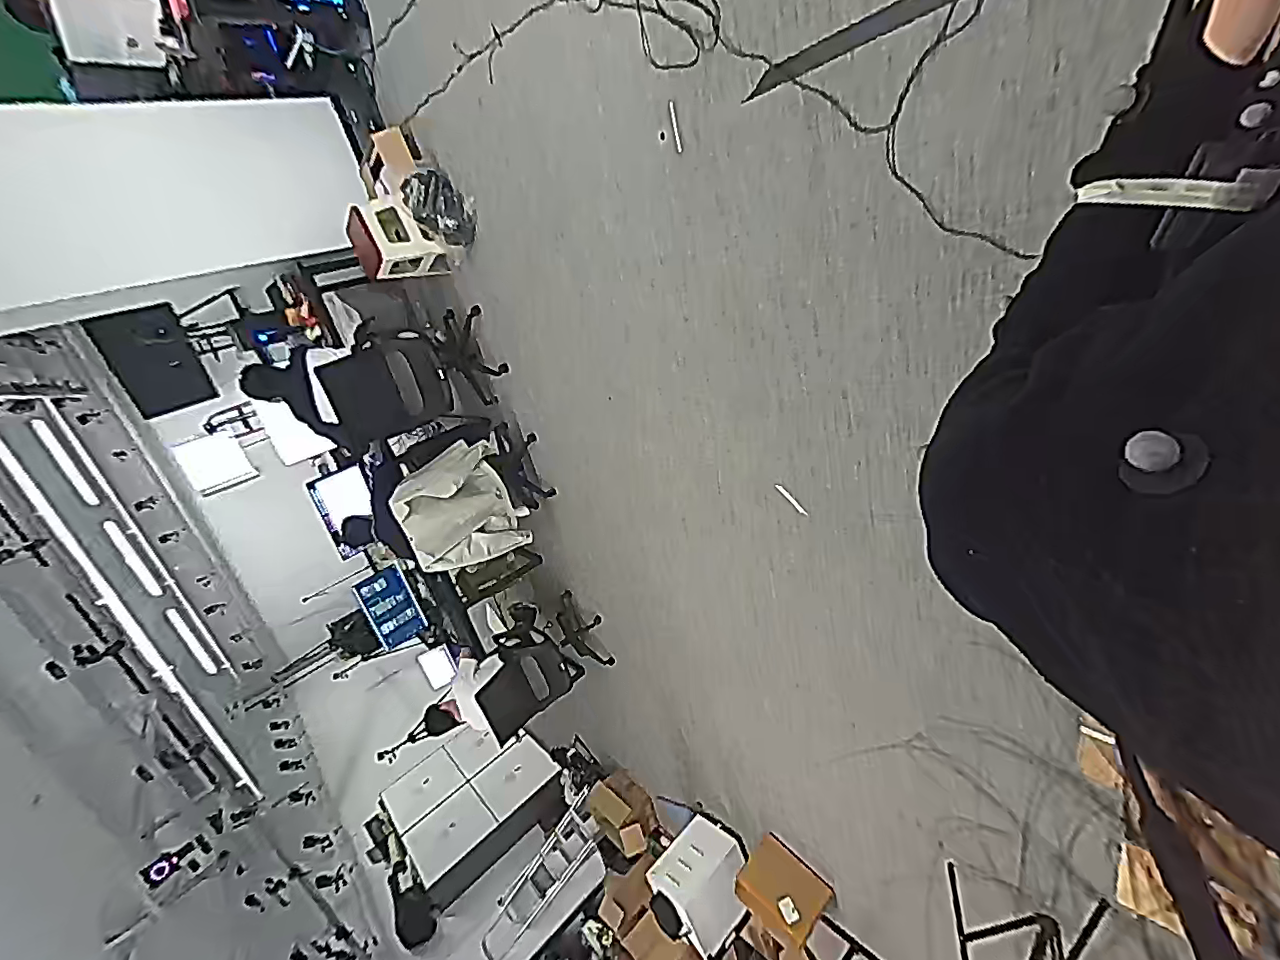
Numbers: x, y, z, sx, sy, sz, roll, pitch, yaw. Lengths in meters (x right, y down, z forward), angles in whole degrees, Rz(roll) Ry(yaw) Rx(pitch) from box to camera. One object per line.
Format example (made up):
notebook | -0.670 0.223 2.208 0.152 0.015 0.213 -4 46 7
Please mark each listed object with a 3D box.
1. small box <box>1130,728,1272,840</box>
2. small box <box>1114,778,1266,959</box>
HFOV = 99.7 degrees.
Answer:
small box | 1.105 0.632 1.069 0.179 0.176 0.168 11 122 50
small box | 0.987 0.692 0.974 0.168 0.176 0.179 11 122 49
